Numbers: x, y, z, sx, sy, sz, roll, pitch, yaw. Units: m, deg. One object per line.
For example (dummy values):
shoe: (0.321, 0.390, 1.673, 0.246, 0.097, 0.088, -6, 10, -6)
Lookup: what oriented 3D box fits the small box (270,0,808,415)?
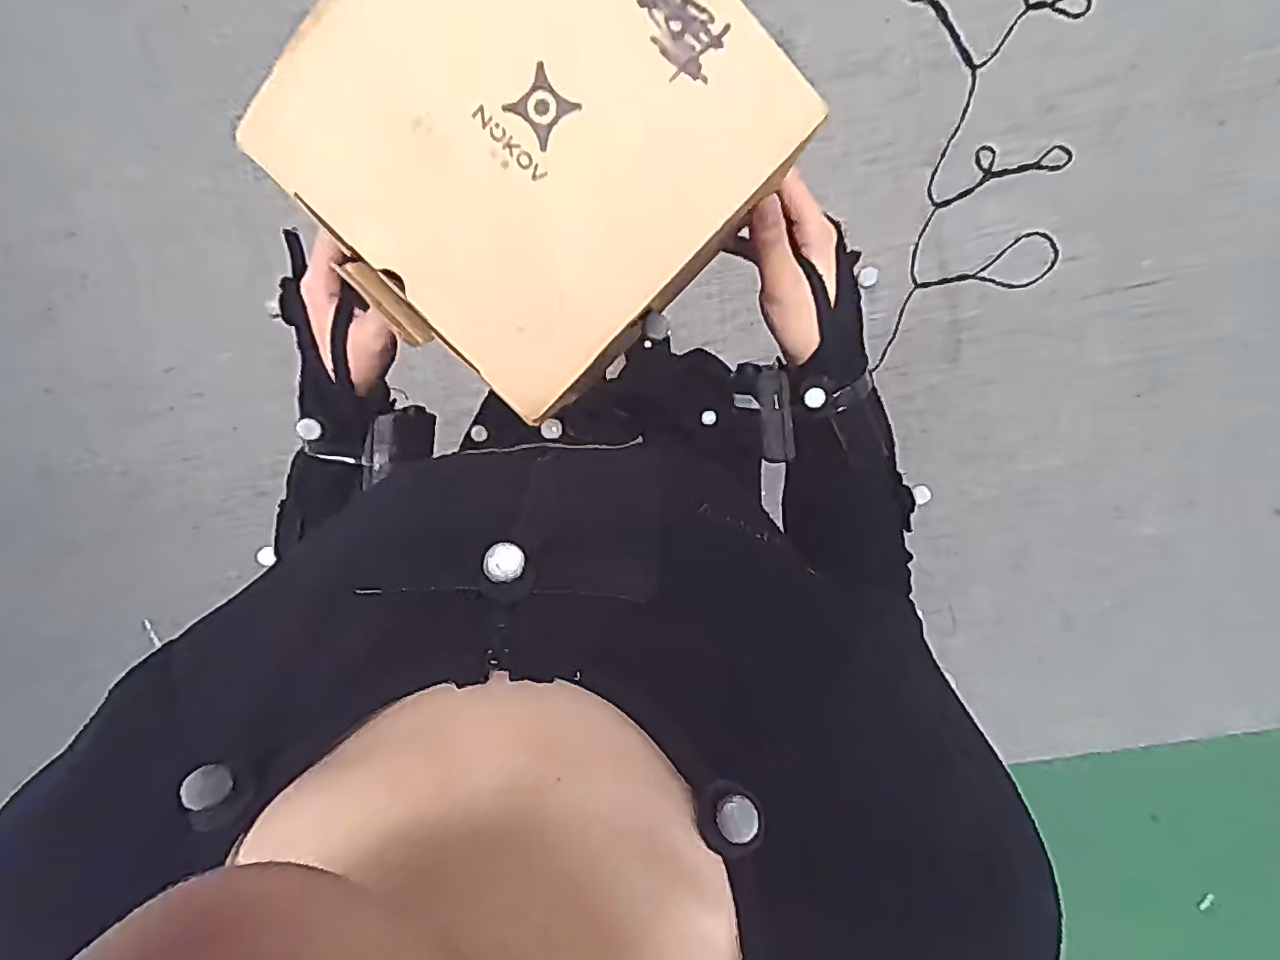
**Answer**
small box: (-0.042, -0.160, 0.306, 0.168, 0.176, 0.179, 44, 100, -8)
